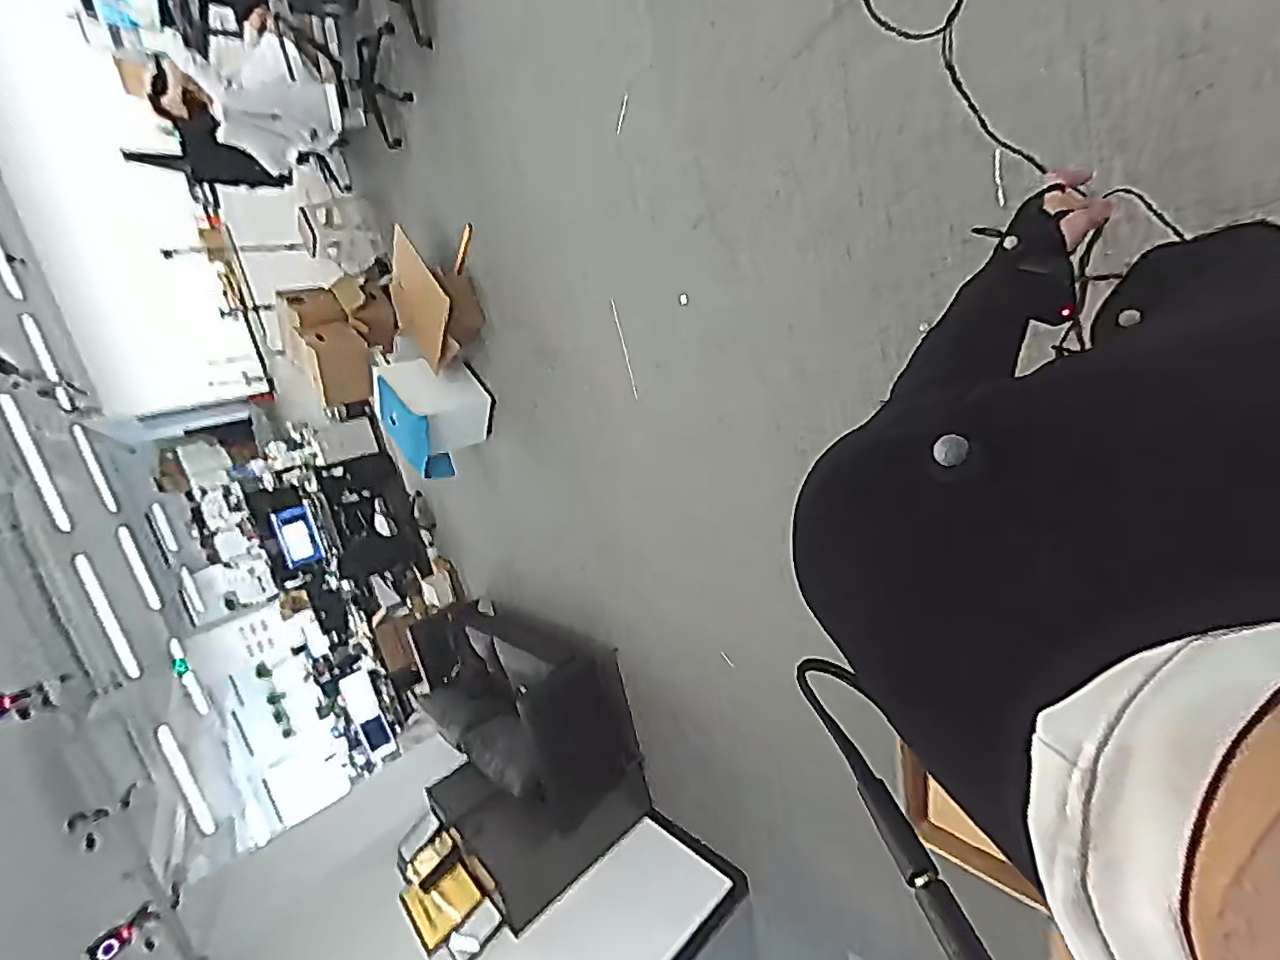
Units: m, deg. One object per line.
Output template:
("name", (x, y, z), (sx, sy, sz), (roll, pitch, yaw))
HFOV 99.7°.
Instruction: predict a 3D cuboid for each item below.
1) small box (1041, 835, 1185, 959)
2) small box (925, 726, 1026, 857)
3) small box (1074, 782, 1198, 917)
("small box", (0.853, 0.800, 0.978), (0.168, 0.176, 0.179), (10, 115, 49))
("small box", (0.797, 0.727, 1.286), (0.168, 0.176, 0.179), (8, 114, 48))
("small box", (0.978, 0.758, 1.077), (0.168, 0.176, 0.179), (11, 116, 47))
